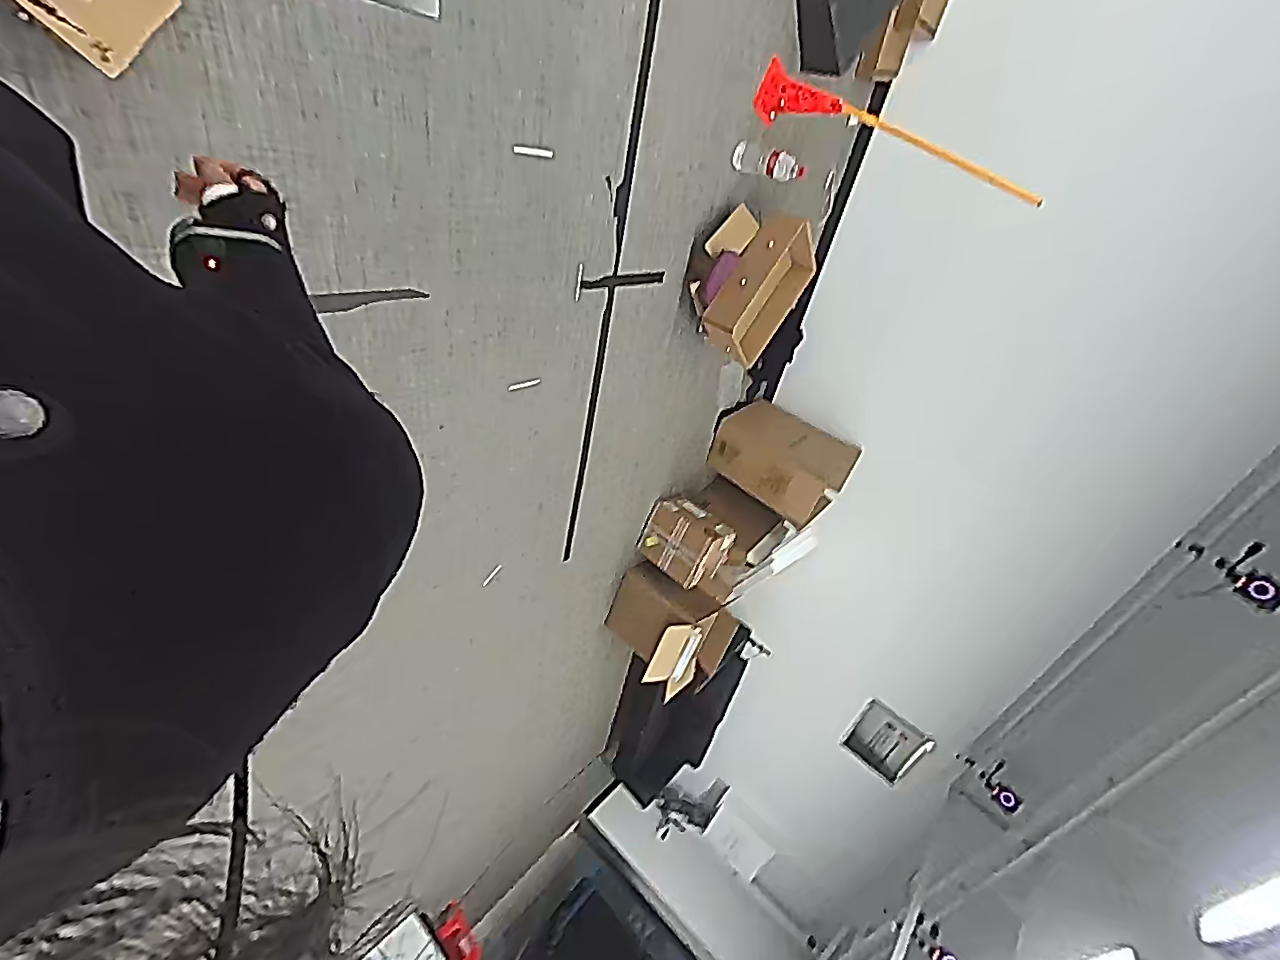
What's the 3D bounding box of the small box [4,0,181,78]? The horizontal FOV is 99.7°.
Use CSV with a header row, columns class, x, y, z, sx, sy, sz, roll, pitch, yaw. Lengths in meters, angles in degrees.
class,x,y,z,sx,sy,sz,roll,pitch,yaw
small box,-0.875,-0.773,0.829,0.179,0.176,0.168,-54,153,-4
